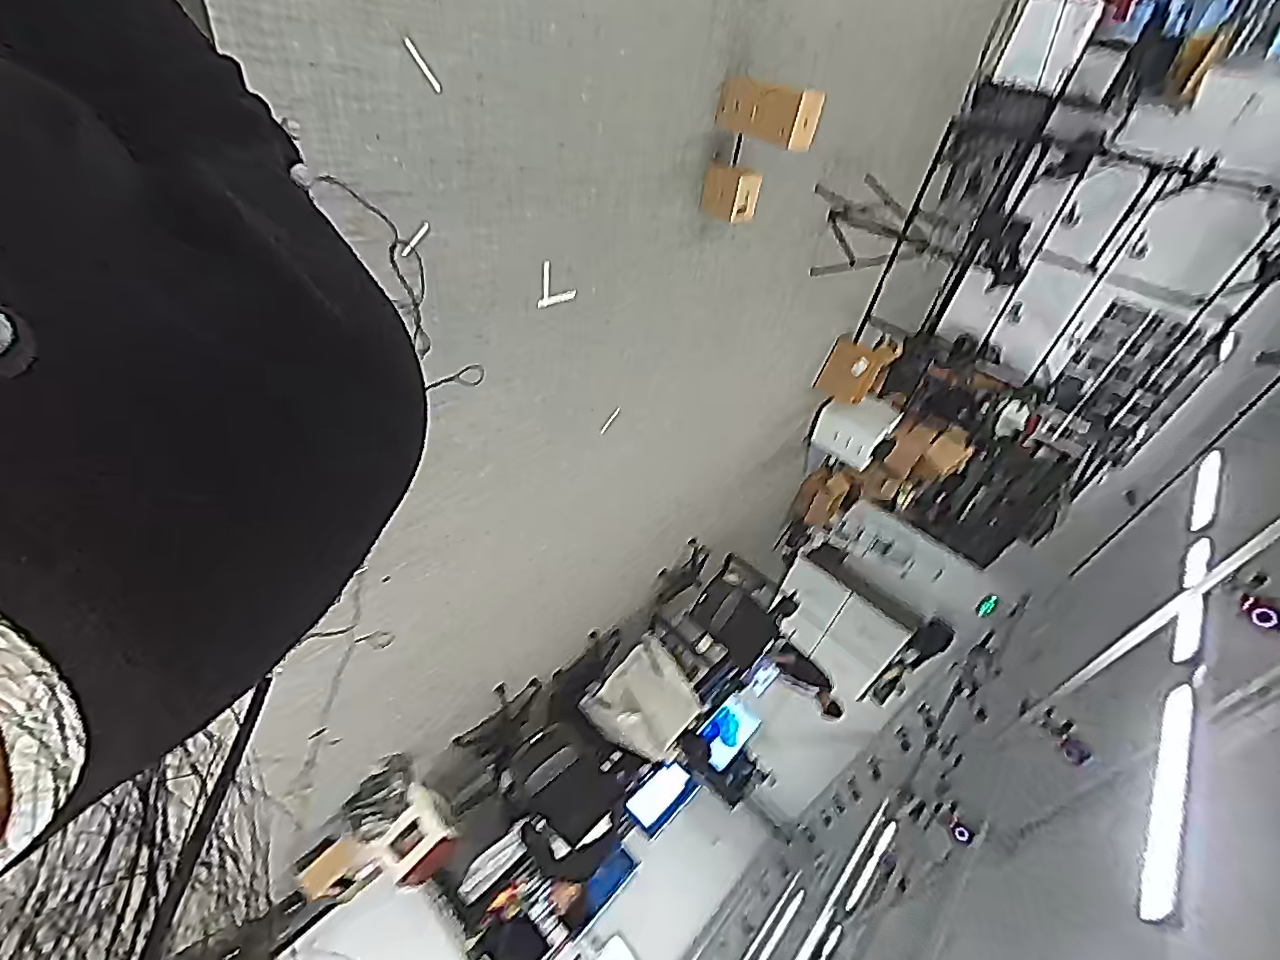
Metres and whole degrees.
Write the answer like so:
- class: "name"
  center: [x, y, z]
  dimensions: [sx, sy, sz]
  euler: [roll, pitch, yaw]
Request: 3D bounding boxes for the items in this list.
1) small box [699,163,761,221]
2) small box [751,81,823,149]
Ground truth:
- class: "small box"
  center: [0.368, -1.198, 2.242]
  dimensions: [0.168, 0.176, 0.179]
  euler: [-30, 143, -38]
- class: "small box"
  center: [0.530, -1.333, 1.979]
  dimensions: [0.168, 0.176, 0.179]
  euler: [-30, 145, -40]
